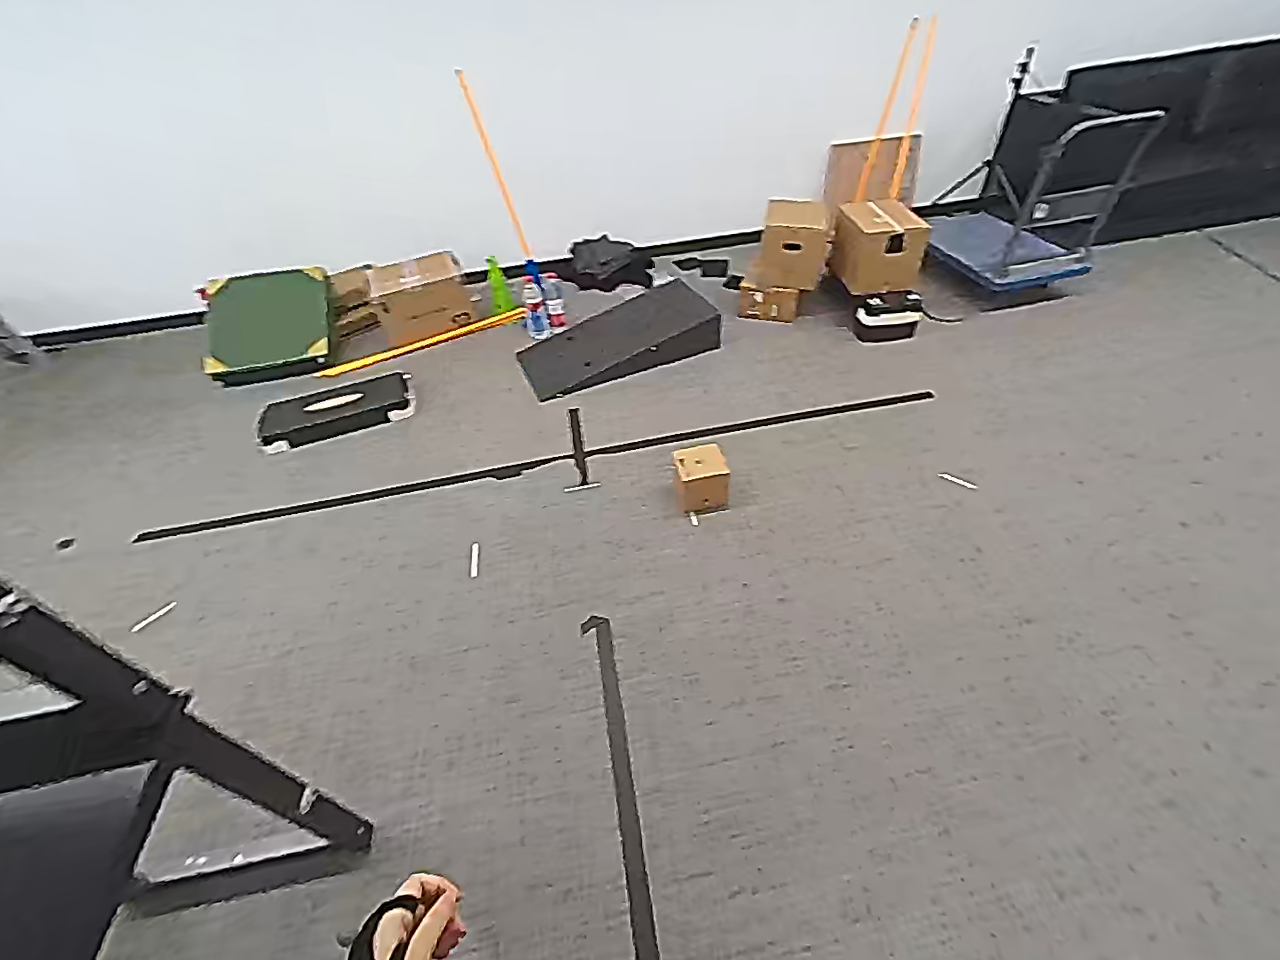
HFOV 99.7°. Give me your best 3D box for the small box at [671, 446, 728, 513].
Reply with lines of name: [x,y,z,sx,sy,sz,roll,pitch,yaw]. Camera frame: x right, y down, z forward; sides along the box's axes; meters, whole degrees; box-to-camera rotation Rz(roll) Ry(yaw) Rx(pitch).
small box: [0.215,0.000,2.013,0.179,0.176,0.168,-10,44,-6]
